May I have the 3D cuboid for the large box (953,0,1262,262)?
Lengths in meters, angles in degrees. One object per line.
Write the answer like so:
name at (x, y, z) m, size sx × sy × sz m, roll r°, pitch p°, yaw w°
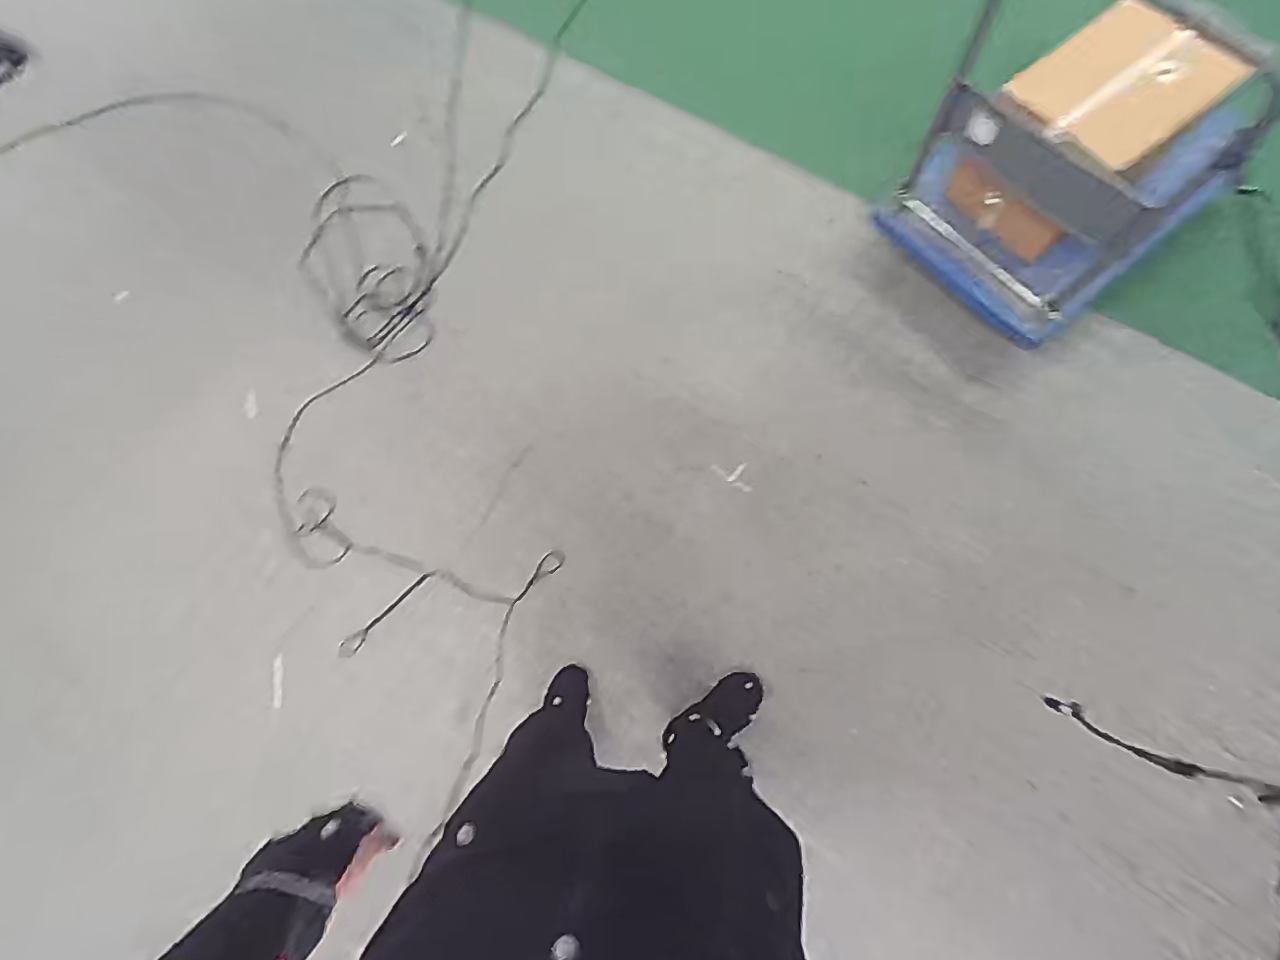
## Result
large box at (1.071, -0.820, 1.297) m, size 0.408 × 0.320 × 0.320 m, roll -35°, pitch 75°, yaw -4°
